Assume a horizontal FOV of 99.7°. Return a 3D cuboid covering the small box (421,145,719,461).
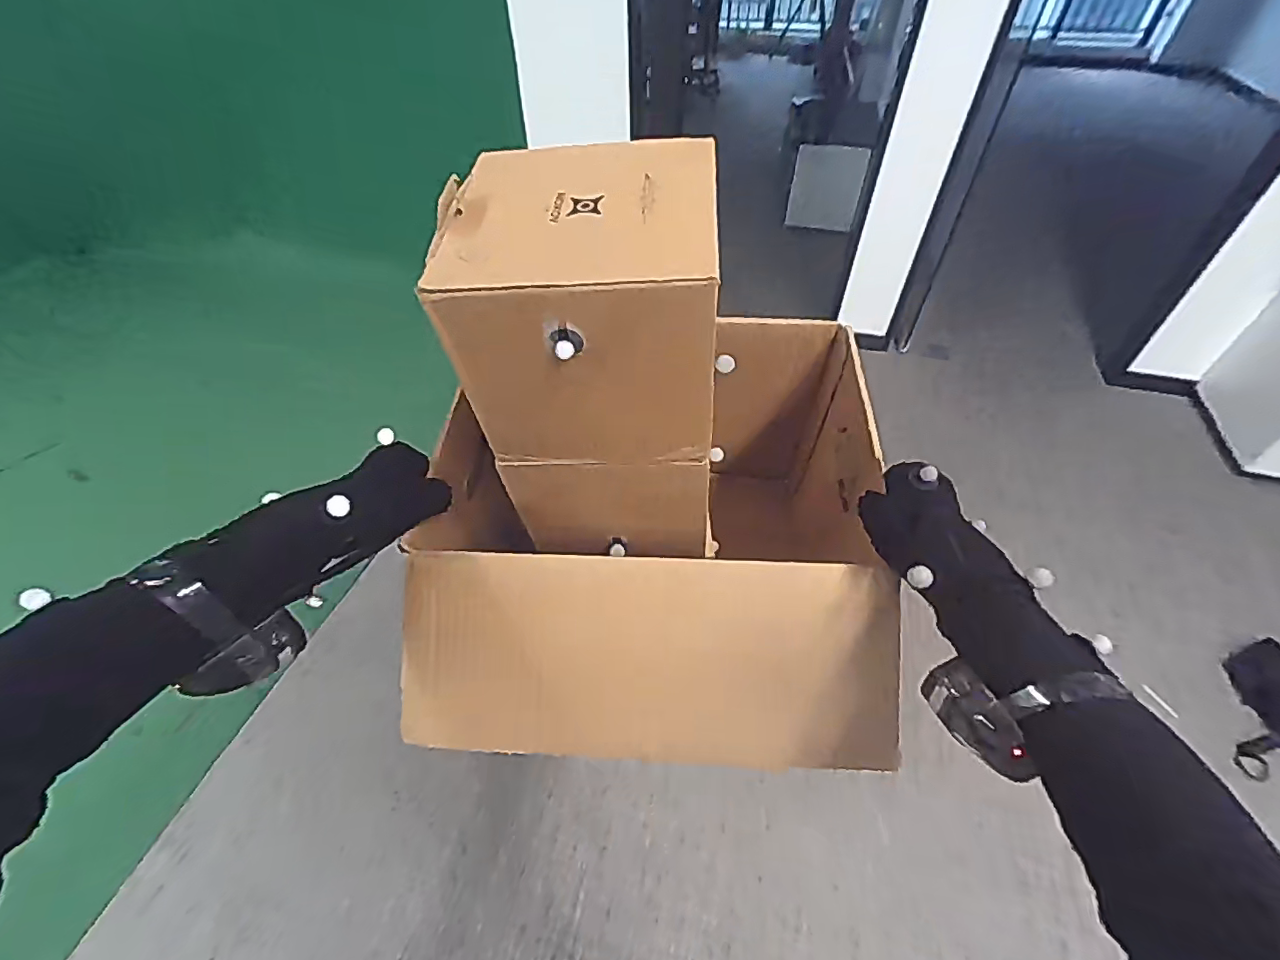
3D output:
[{"bbox_3d":[-0.032,-0.126,0.415,0.179,0.176,0.168,0,56,4],"label":"small box"}]
